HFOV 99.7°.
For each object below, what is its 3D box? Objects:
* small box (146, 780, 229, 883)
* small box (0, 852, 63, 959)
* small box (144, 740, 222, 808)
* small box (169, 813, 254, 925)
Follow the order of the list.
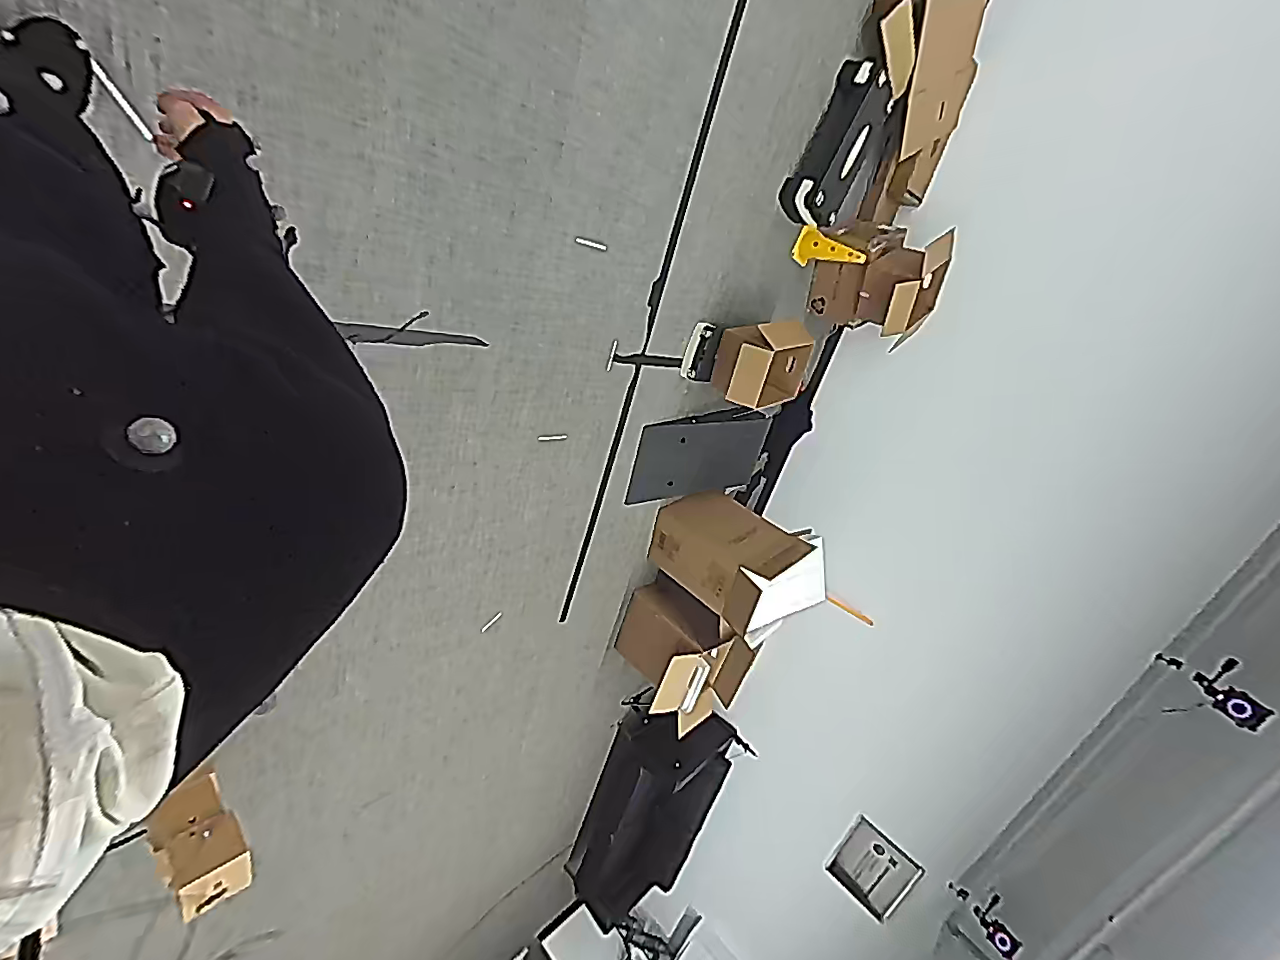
[{"bbox_3d":[-1.404,1.092,1.693,0.179,0.176,0.168,-17,131,-45],"label":"small box"},{"bbox_3d":[-1.648,1.131,1.414,0.179,0.176,0.168,-4,121,-50],"label":"small box"},{"bbox_3d":[-1.509,1.010,1.790,0.168,0.176,0.179,-15,130,-46],"label":"small box"},{"bbox_3d":[-1.272,1.146,1.607,0.168,0.176,0.179,-13,128,-49],"label":"small box"}]
